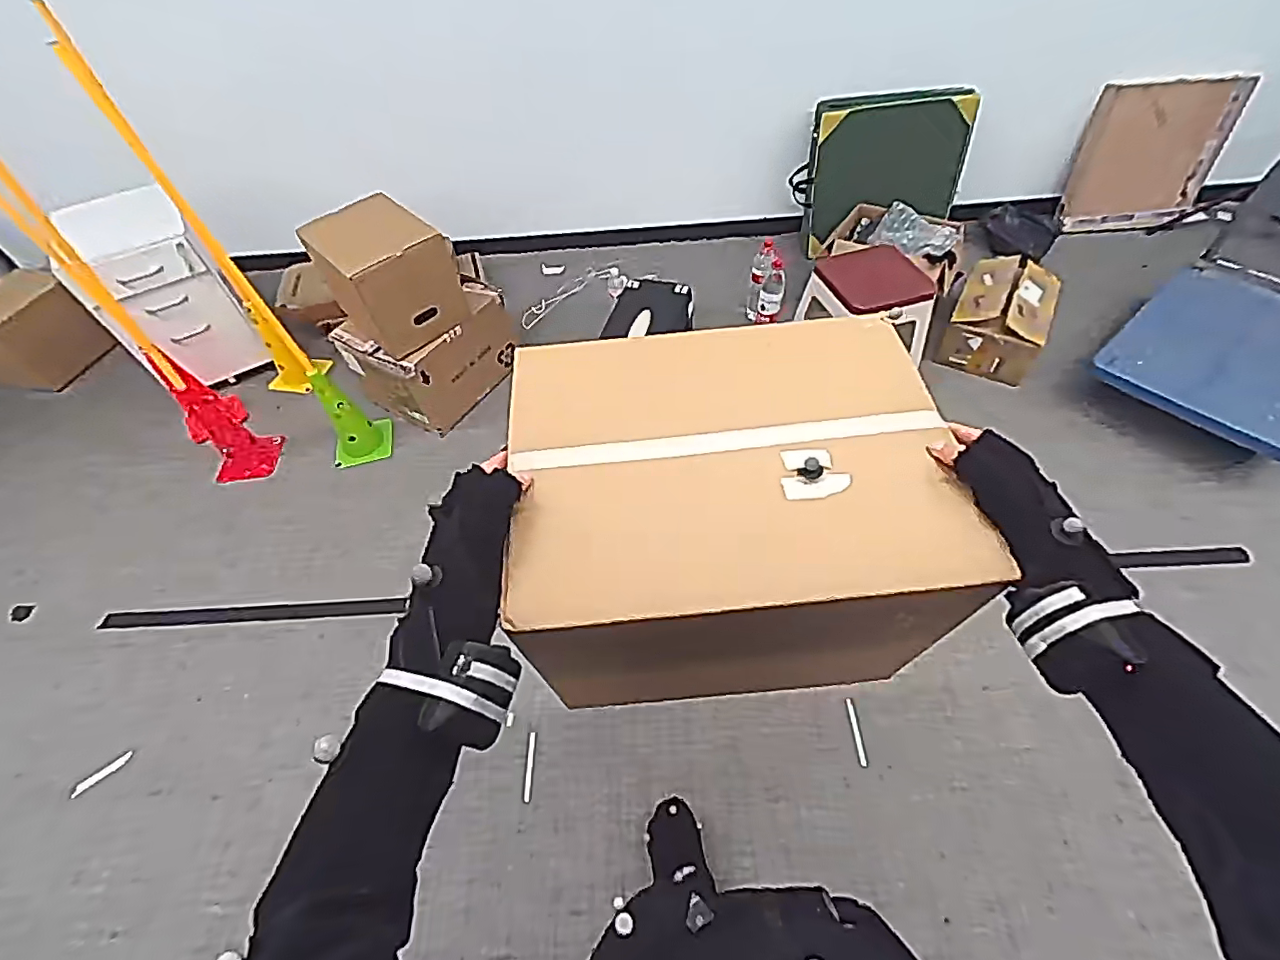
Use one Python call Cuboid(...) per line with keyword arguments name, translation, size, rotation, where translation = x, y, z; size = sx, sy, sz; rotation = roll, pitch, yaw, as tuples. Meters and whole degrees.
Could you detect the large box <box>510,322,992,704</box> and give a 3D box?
Cuboid(name="large box", translation=(0.083, 0.053, 0.639), size=(0.408, 0.320, 0.320), rotation=(-6, 56, 0))
